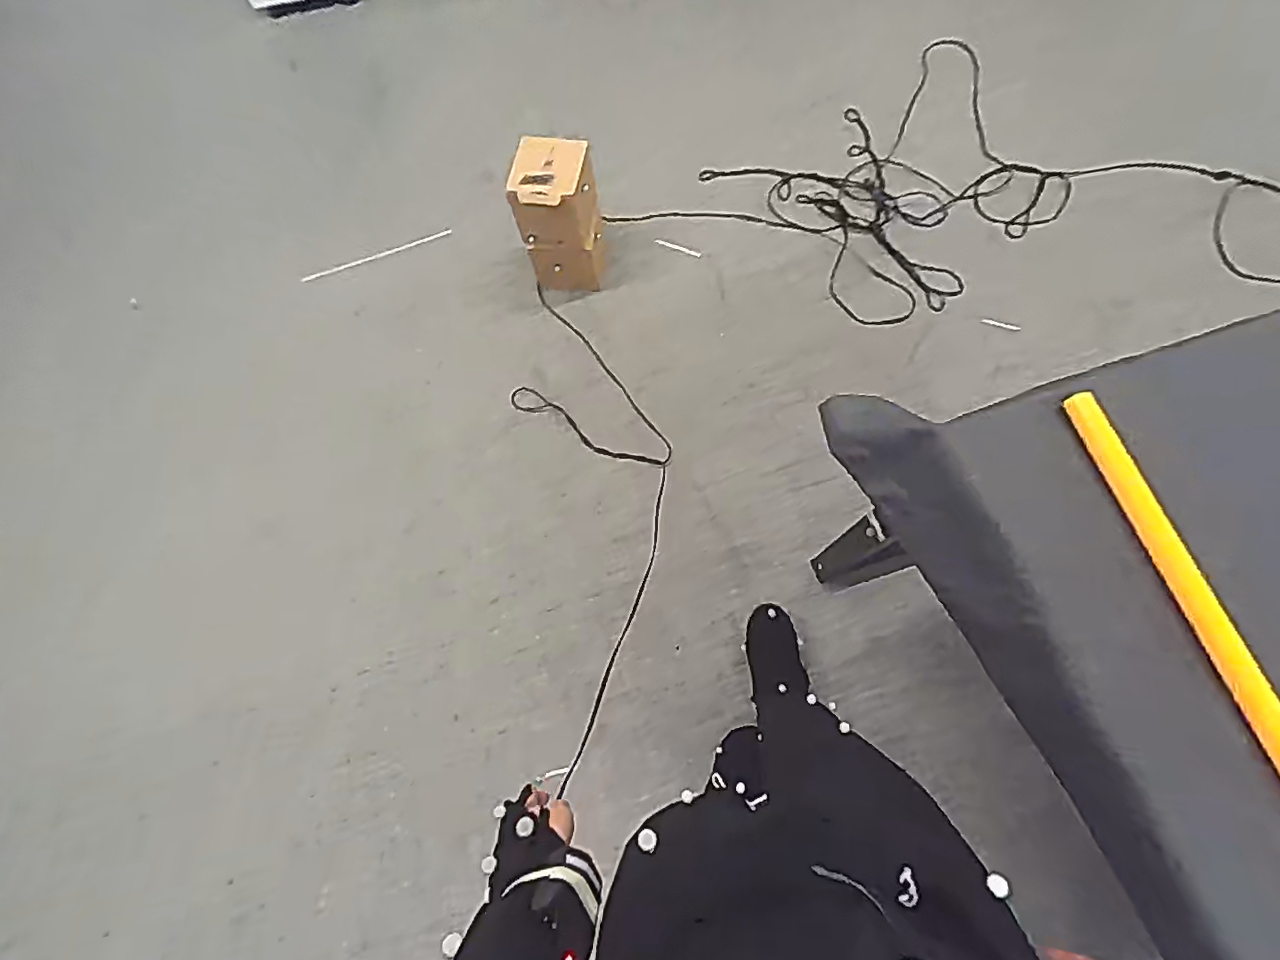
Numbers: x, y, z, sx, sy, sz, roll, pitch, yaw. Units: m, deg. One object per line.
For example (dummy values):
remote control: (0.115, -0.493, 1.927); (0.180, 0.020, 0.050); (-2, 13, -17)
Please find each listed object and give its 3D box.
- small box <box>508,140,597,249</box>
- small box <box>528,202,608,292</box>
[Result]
small box: (-0.208, -0.704, 1.344); (0.168, 0.176, 0.179); (8, 71, 6)
small box: (-0.194, -0.641, 1.497); (0.179, 0.176, 0.168); (3, 71, 5)
